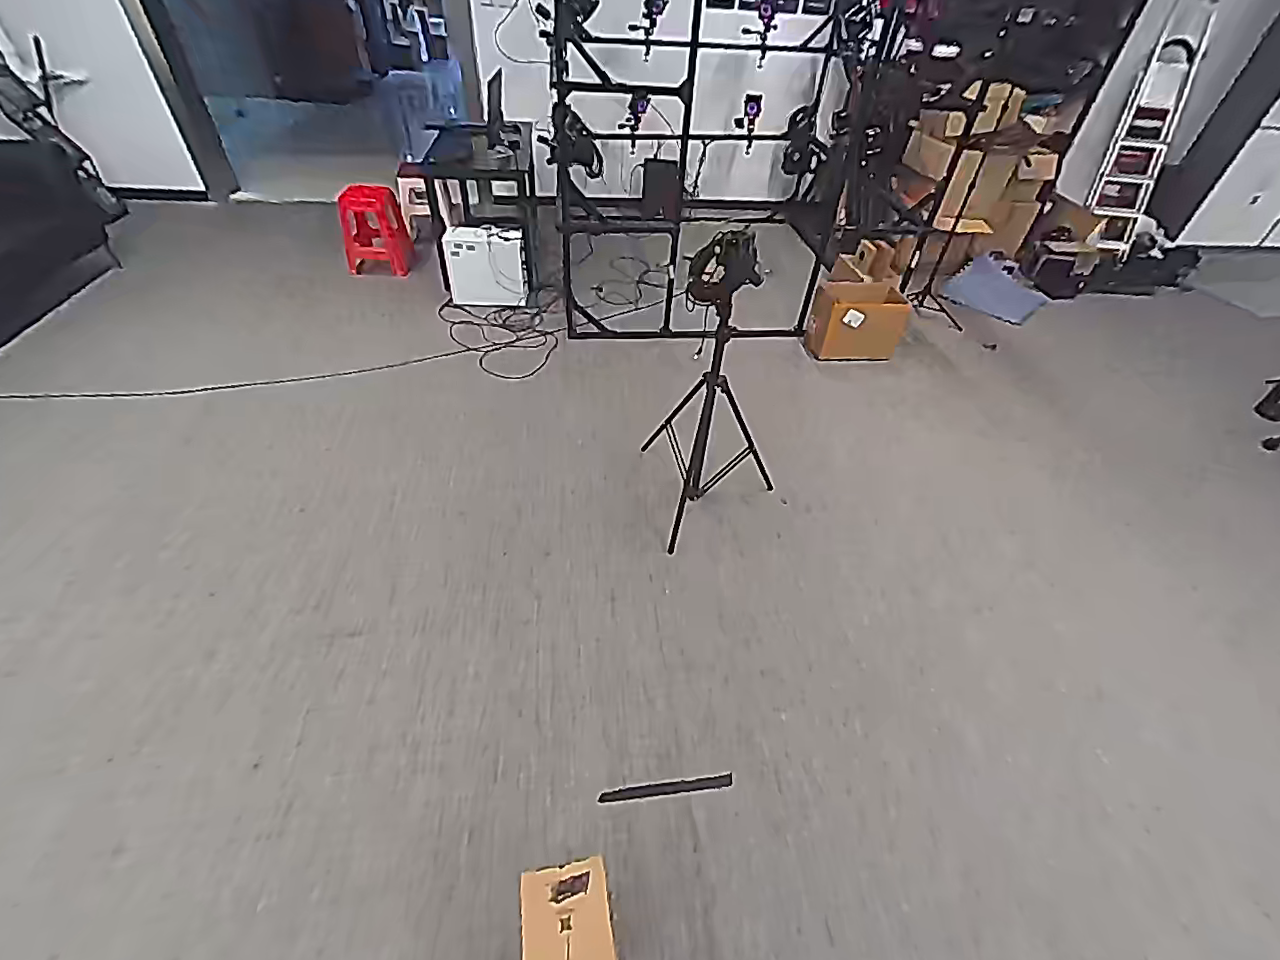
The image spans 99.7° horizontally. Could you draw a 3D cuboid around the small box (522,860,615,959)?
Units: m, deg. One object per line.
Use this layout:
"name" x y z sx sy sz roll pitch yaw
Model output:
"small box" -0.142 0.887 1.067 0.168 0.176 0.179 -6 45 -9
